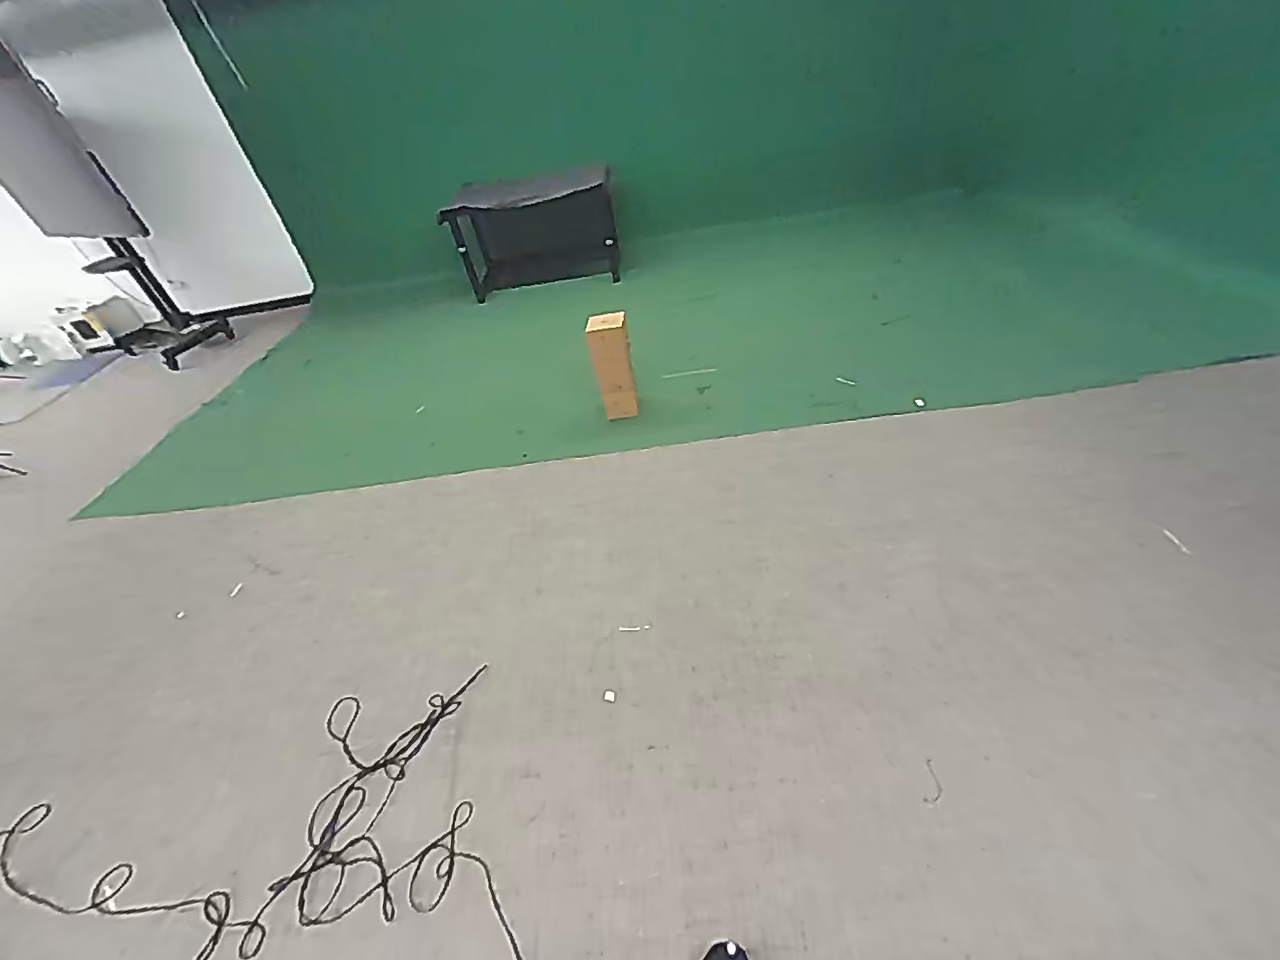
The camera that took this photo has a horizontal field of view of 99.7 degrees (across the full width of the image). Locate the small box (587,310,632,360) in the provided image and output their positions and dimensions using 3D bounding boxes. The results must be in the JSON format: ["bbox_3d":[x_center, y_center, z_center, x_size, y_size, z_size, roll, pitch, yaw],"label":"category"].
[{"bbox_3d":[-0.142,-0.689,2.586,0.179,0.176,0.168,-5,41,9],"label":"small box"}]

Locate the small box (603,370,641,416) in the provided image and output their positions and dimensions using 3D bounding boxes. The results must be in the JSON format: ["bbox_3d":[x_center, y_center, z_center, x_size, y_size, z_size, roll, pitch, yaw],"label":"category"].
[{"bbox_3d":[-0.091,-0.444,2.800,0.168,0.176,0.179,-7,39,7],"label":"small box"}]
